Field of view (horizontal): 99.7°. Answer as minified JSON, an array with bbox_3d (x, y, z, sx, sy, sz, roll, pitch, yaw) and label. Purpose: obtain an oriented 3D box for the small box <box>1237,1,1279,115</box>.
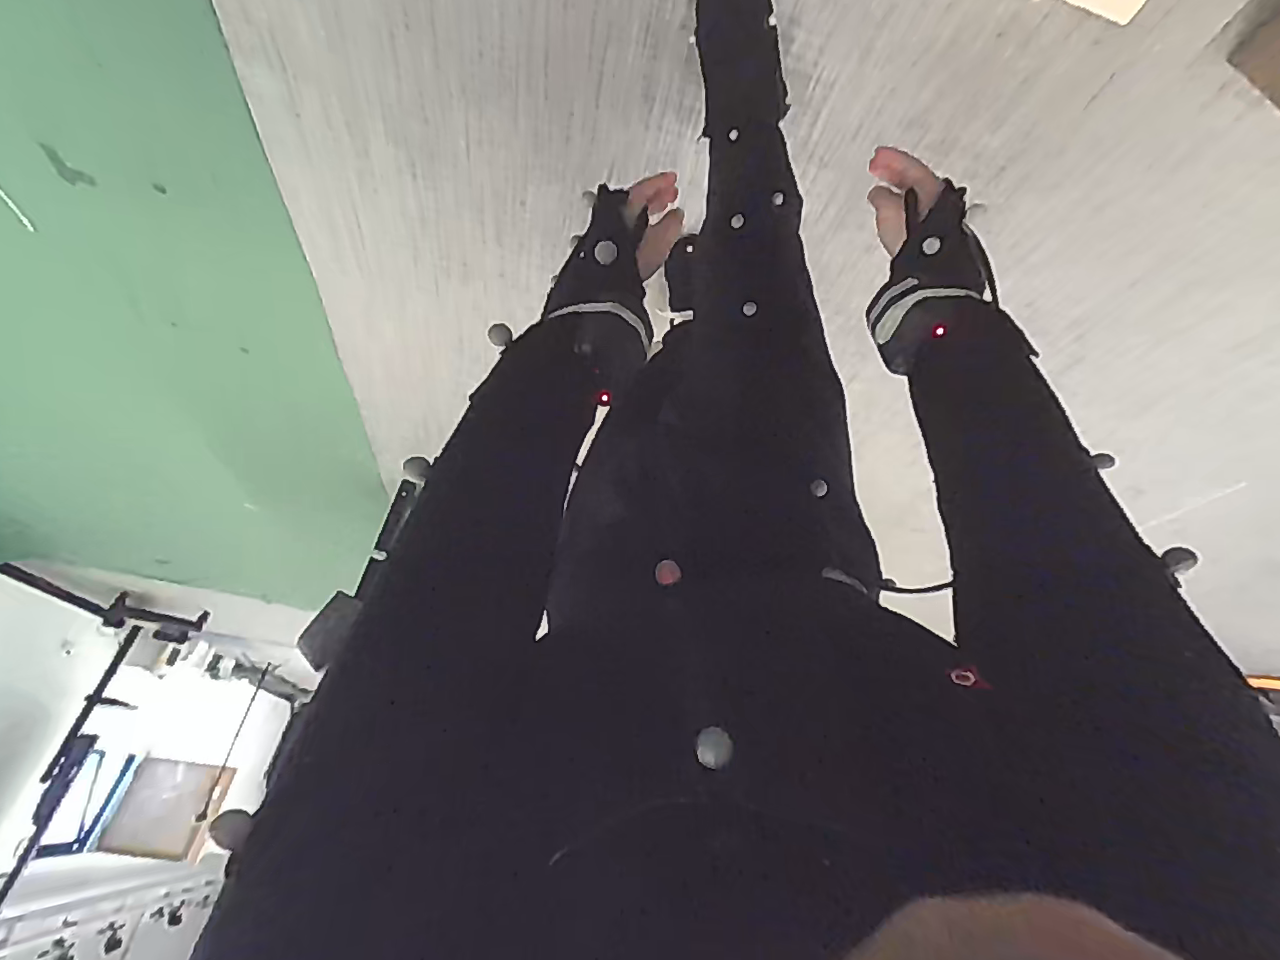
[{"bbox_3d":[0.902,-0.544,0.658,0.168,0.176,0.179,14,146,-12],"label":"small box"}]
